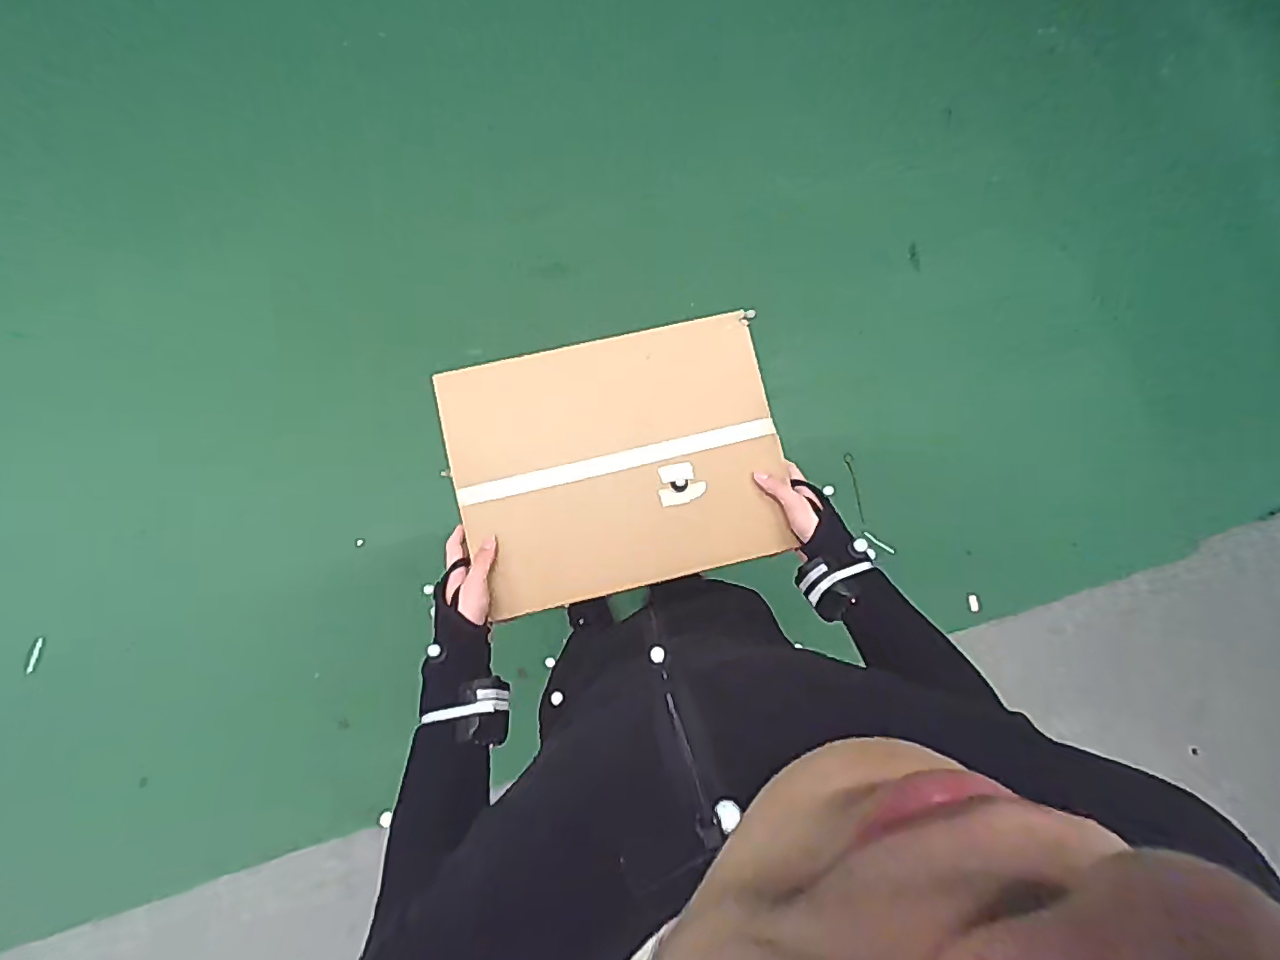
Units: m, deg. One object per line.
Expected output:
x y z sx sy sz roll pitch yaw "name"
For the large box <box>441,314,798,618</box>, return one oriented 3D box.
-0.034 -0.009 0.831 0.408 0.320 0.320 -13 86 -5 "large box"
